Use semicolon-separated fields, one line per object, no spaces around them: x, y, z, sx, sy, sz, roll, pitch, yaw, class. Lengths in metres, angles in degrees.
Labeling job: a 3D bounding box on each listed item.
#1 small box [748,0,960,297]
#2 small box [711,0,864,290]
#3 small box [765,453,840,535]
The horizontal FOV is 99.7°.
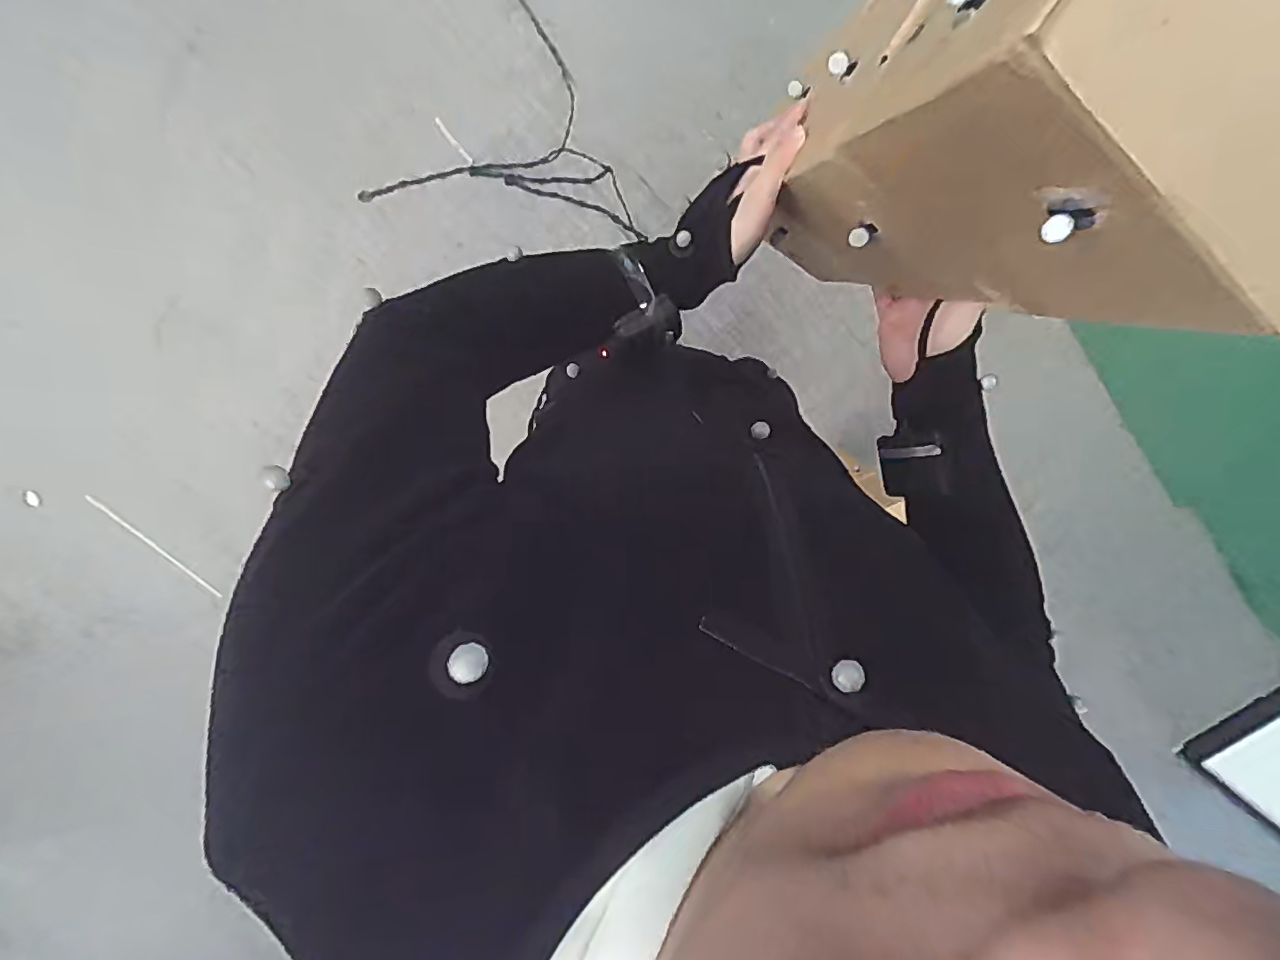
0.206;-0.248;0.398;0.179;0.176;0.168;29;106;-15;small box
0.189;-0.317;0.546;0.168;0.176;0.179;29;106;-16;small box
0.480;0.033;1.589;0.168;0.176;0.179;-18;109;4;small box
